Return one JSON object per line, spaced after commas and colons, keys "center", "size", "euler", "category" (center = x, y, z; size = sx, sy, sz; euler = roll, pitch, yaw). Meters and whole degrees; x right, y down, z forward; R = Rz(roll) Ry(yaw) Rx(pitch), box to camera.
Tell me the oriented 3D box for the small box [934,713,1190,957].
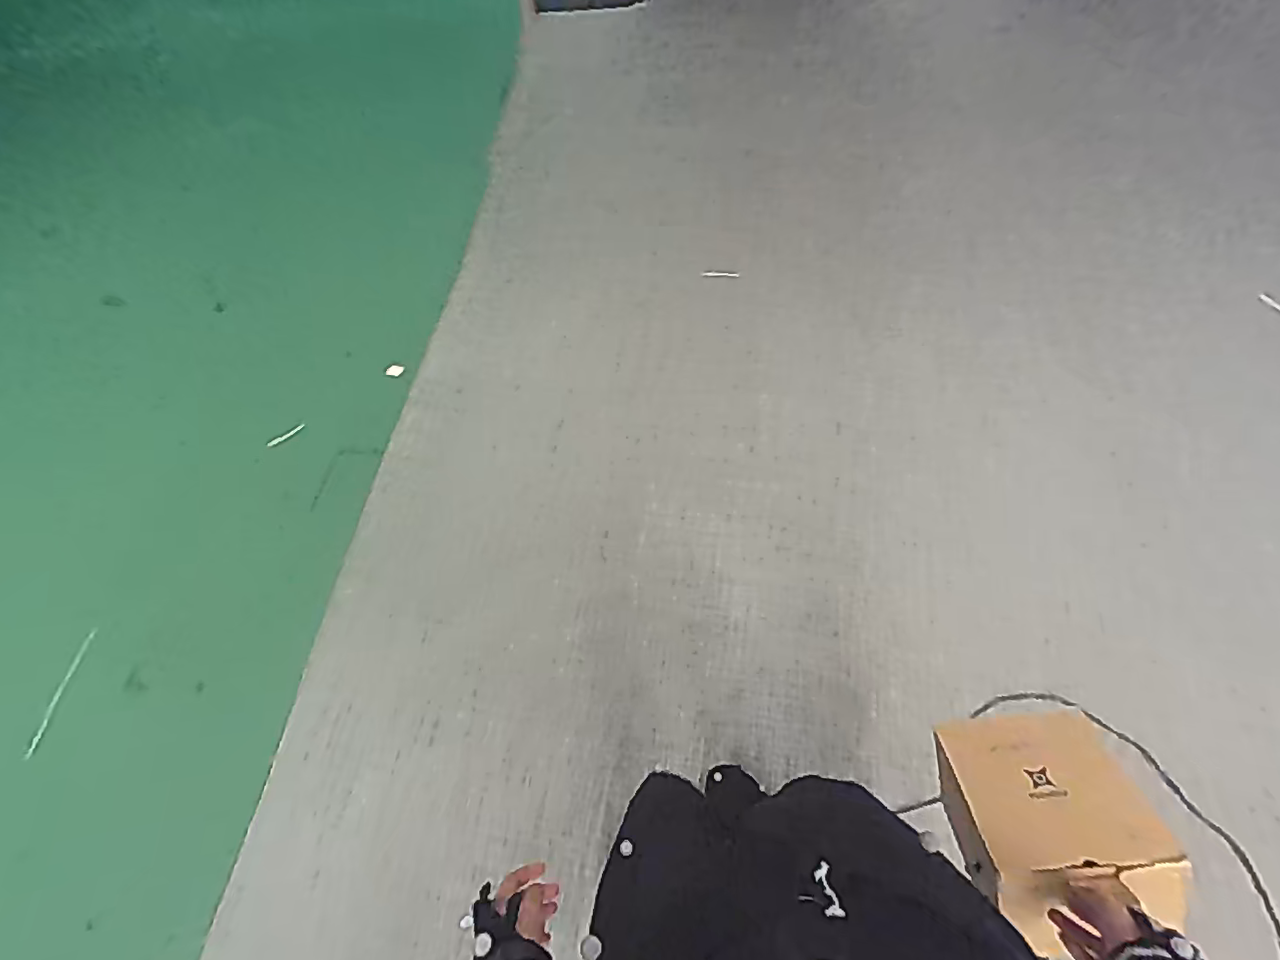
{"center": [0.457, 0.401, 0.614], "size": [0.168, 0.176, 0.179], "euler": [-12, 24, 12], "category": "small box"}
